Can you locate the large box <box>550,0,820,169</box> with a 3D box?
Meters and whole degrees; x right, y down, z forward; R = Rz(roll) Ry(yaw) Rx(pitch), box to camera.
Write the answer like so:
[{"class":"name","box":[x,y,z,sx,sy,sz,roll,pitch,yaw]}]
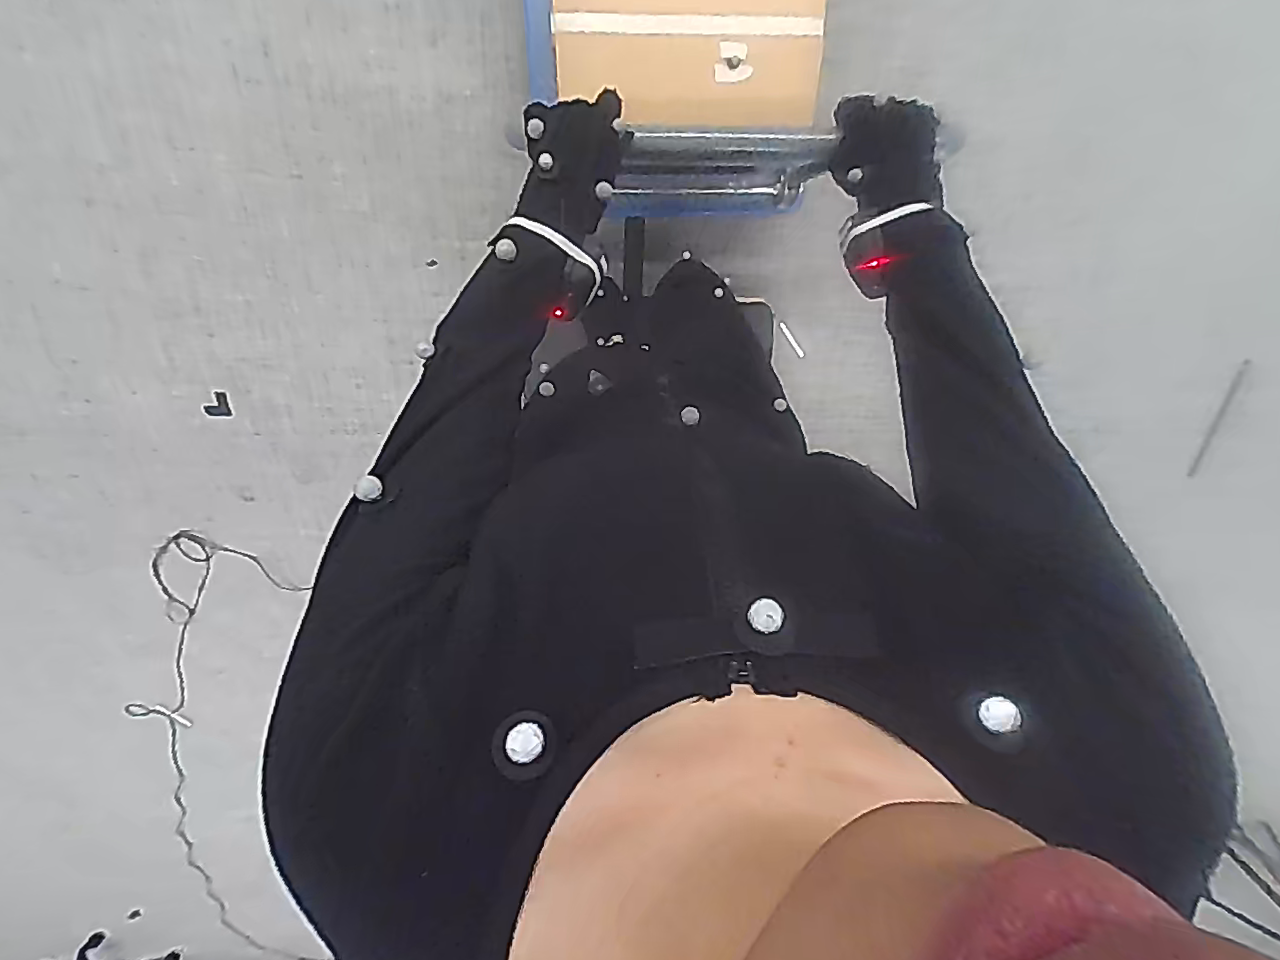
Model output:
[{"class":"large box","box":[0.057,-0.731,0.935,0.408,0.320,0.320,-2,116,-4]}]
